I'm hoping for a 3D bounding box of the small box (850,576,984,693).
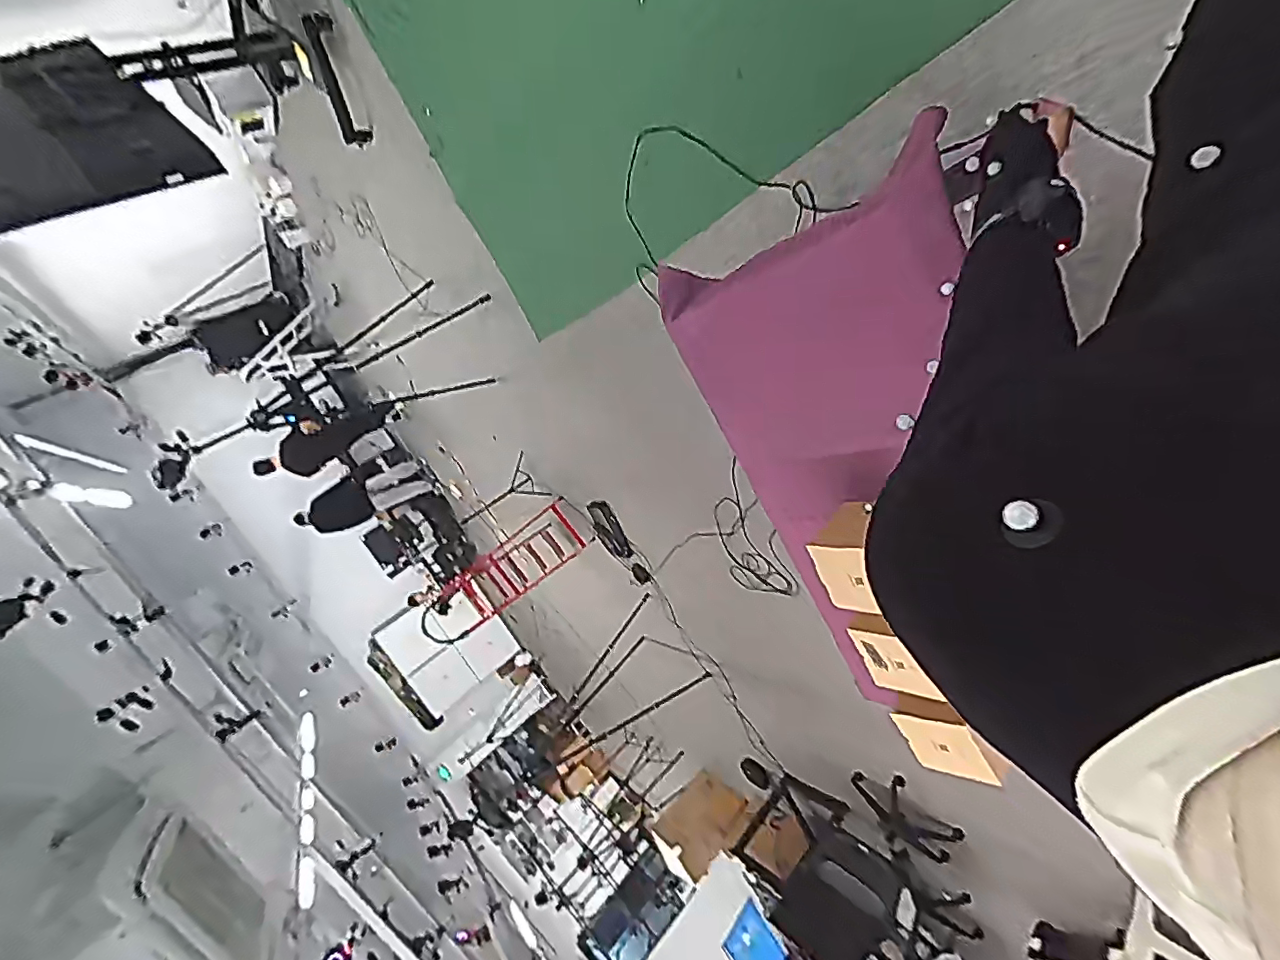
[{"bbox_3d":[0.606,0.327,1.183,0.179,0.176,0.168,-11,114,59],"label":"small box"}]

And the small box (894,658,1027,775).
[{"bbox_3d":[0.725,0.516,1.223,0.168,0.176,0.179,56,152,-8],"label":"small box"}]
